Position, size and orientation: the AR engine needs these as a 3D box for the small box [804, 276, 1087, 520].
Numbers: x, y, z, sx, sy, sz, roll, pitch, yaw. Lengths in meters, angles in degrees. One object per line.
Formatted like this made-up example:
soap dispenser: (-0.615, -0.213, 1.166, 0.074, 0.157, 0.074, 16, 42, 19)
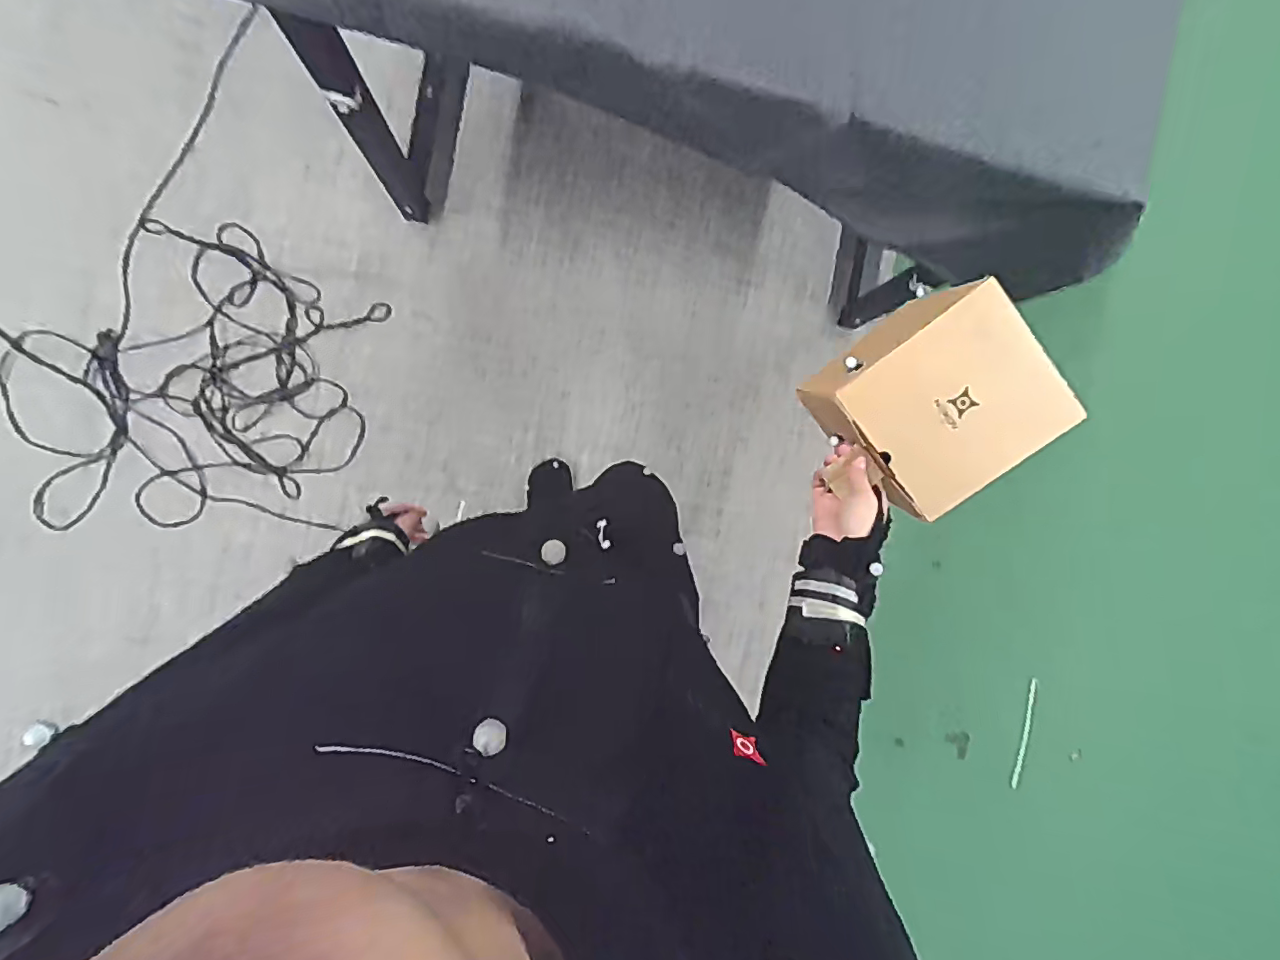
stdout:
small box: (0.307, -0.090, 0.587, 0.179, 0.176, 0.168, -39, 97, 11)
